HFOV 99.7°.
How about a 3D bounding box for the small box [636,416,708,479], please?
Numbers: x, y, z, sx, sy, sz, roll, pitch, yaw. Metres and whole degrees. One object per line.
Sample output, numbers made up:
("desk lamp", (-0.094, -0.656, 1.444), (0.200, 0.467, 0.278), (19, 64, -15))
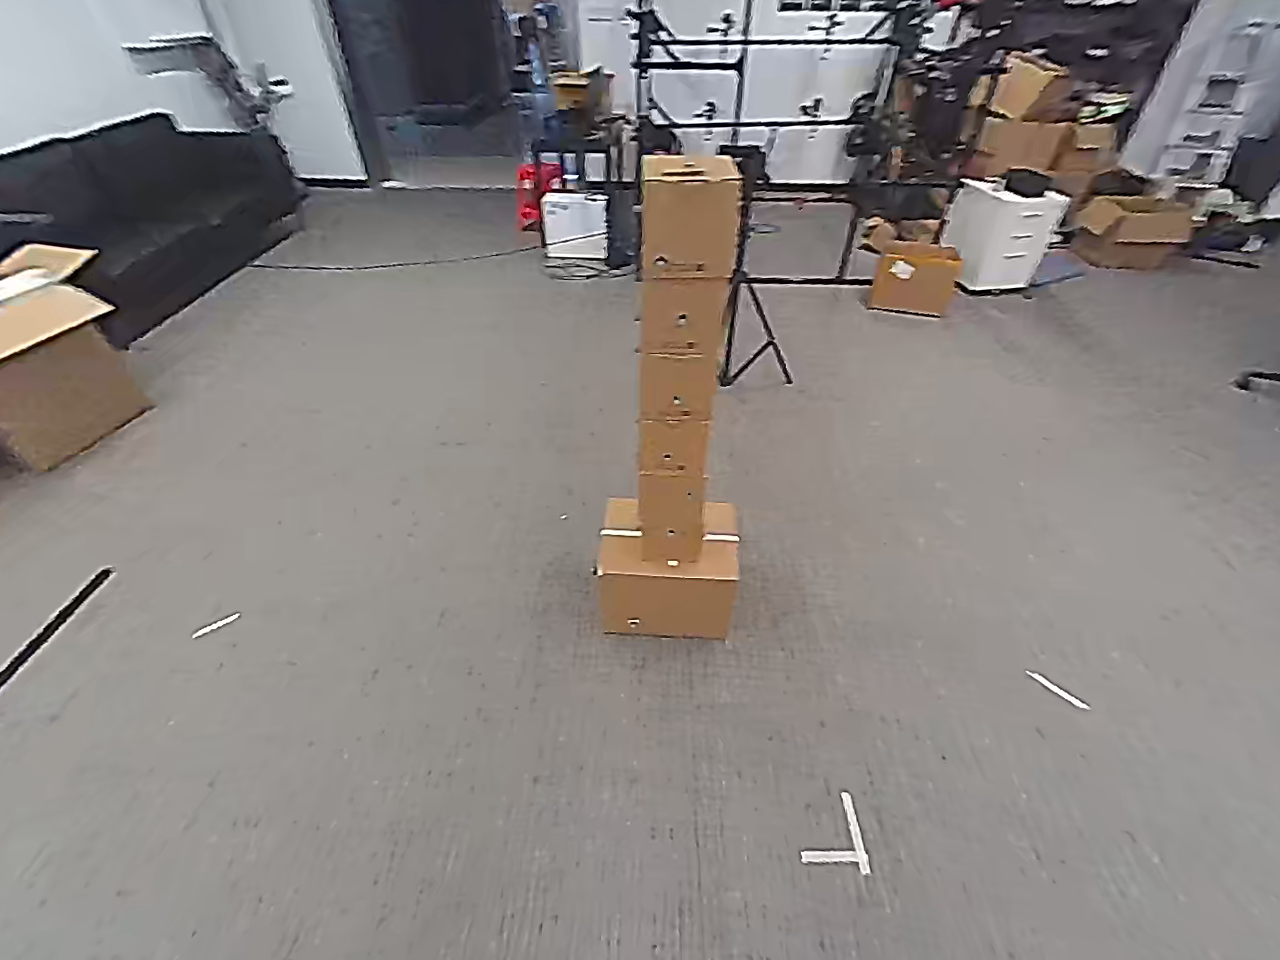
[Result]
("small box", (0.077, -0.123, 1.354), (0.168, 0.176, 0.179), (1, 43, 1))

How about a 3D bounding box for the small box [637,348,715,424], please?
("small box", (0.077, -0.248, 1.246), (0.168, 0.176, 0.179), (0, 43, 1))

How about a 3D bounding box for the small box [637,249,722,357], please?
("small box", (0.078, -0.373, 1.140), (0.168, 0.176, 0.179), (0, 43, 0))

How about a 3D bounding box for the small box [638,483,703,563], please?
("small box", (0.085, 0.127, 1.564), (0.179, 0.176, 0.168), (2, 43, 0))

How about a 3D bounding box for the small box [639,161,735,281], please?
("small box", (0.081, -0.487, 1.021), (0.168, 0.176, 0.179), (0, 42, 0))
